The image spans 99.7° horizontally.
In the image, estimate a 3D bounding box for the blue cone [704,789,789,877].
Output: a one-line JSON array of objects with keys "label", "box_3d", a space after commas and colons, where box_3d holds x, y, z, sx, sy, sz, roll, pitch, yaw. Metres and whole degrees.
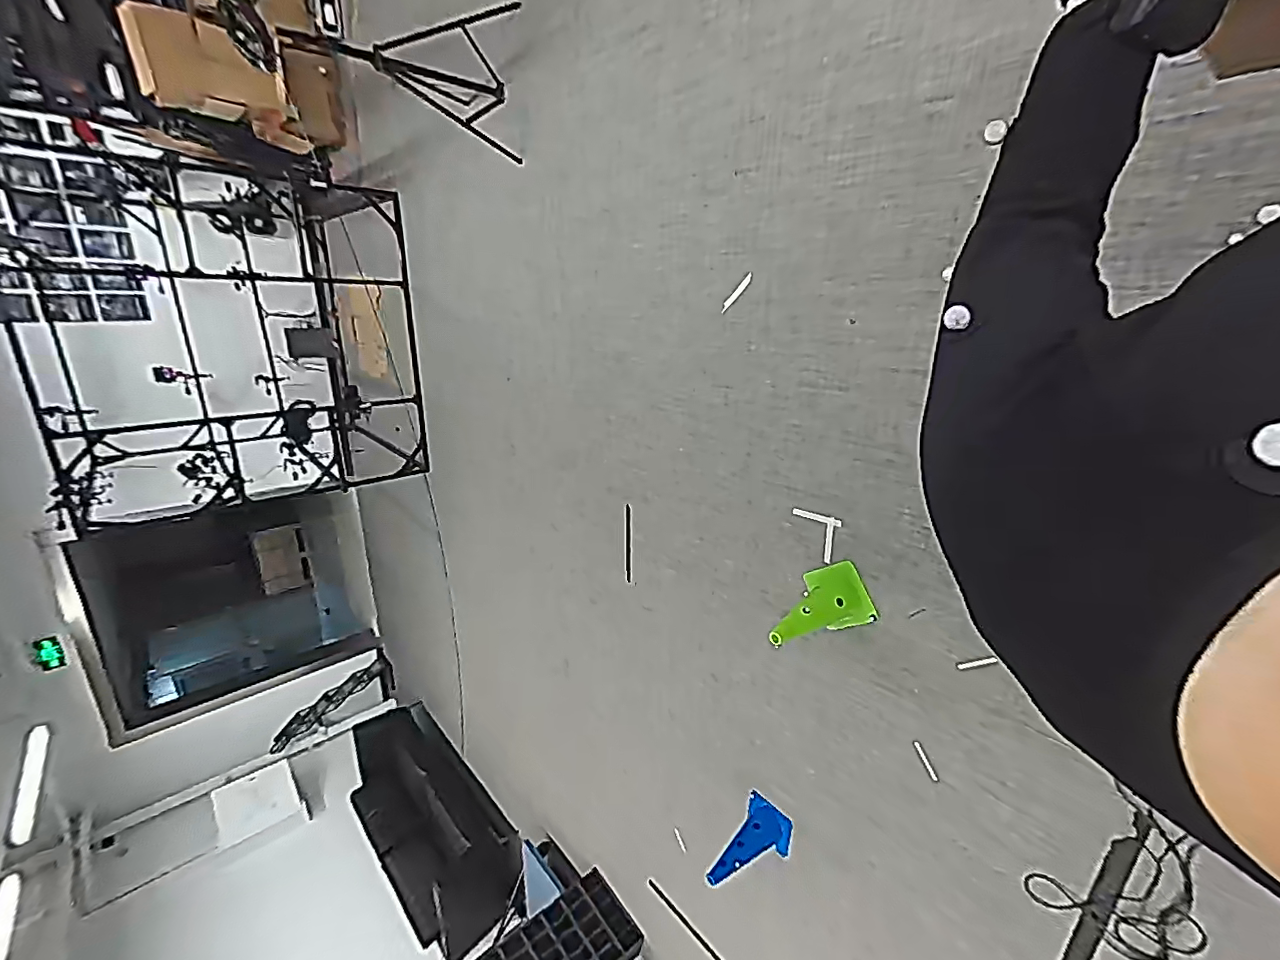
[{"label": "blue cone", "box_3d": [0.397, 1.418, 2.107, 0.192, 0.380, 0.193, 25, 120, 44]}]

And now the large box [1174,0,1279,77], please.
[{"label": "large box", "box_3d": [0.585, -0.462, 0.264, 0.408, 0.320, 0.320, 19, 121, 45]}]

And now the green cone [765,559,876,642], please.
[{"label": "green cone", "box_3d": [0.506, 0.398, 1.629, 0.202, 0.368, 0.200, -36, 73, 50]}]
